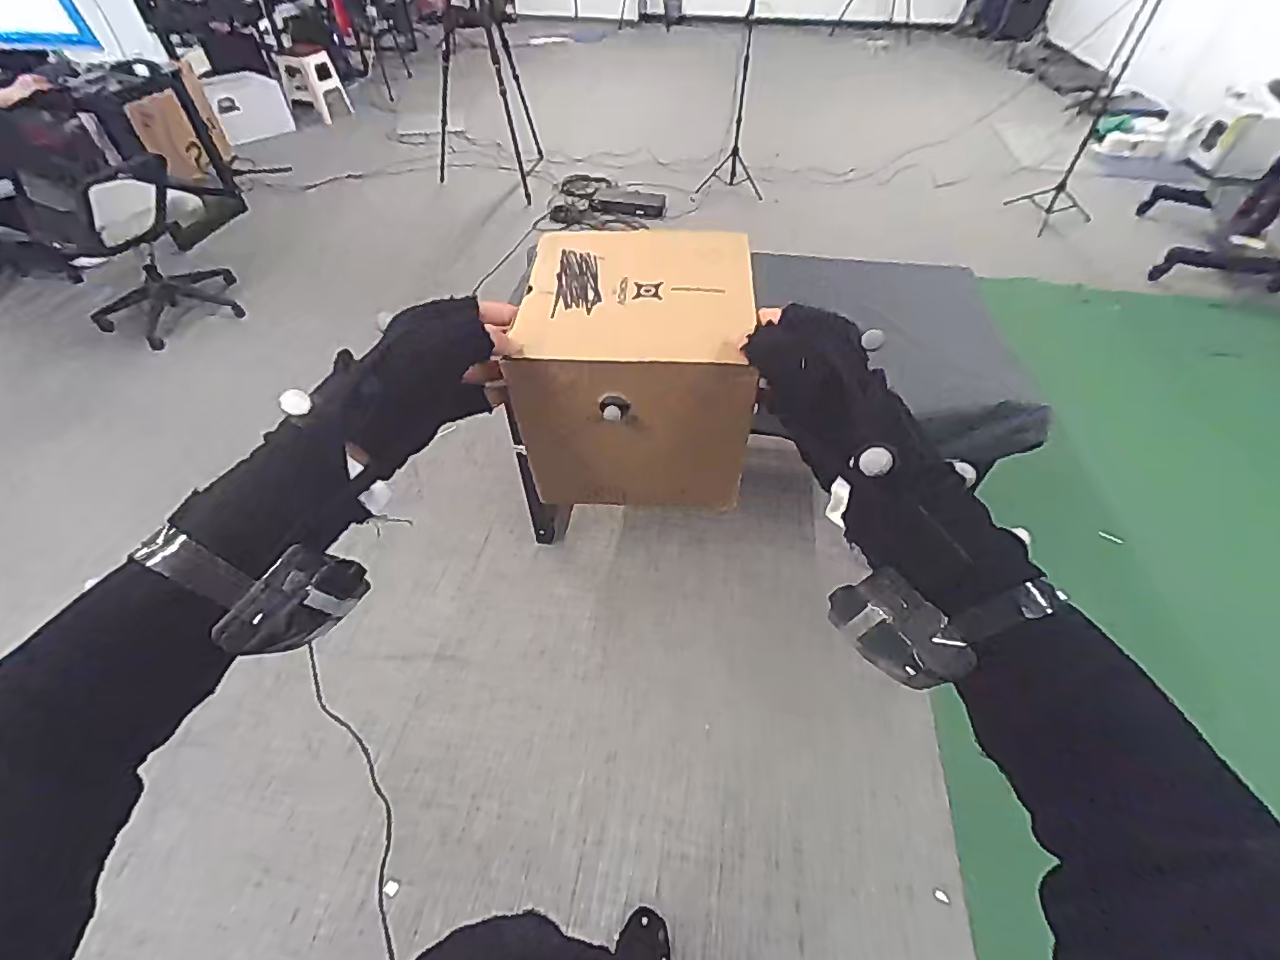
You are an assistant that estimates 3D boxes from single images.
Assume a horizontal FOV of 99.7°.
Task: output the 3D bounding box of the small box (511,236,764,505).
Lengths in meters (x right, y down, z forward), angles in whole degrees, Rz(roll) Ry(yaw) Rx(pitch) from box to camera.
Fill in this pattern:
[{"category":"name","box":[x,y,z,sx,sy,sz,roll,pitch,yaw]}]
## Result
[{"category":"small box","box":[0.006,-0.091,0.474,0.179,0.176,0.168,3,53,4]}]
